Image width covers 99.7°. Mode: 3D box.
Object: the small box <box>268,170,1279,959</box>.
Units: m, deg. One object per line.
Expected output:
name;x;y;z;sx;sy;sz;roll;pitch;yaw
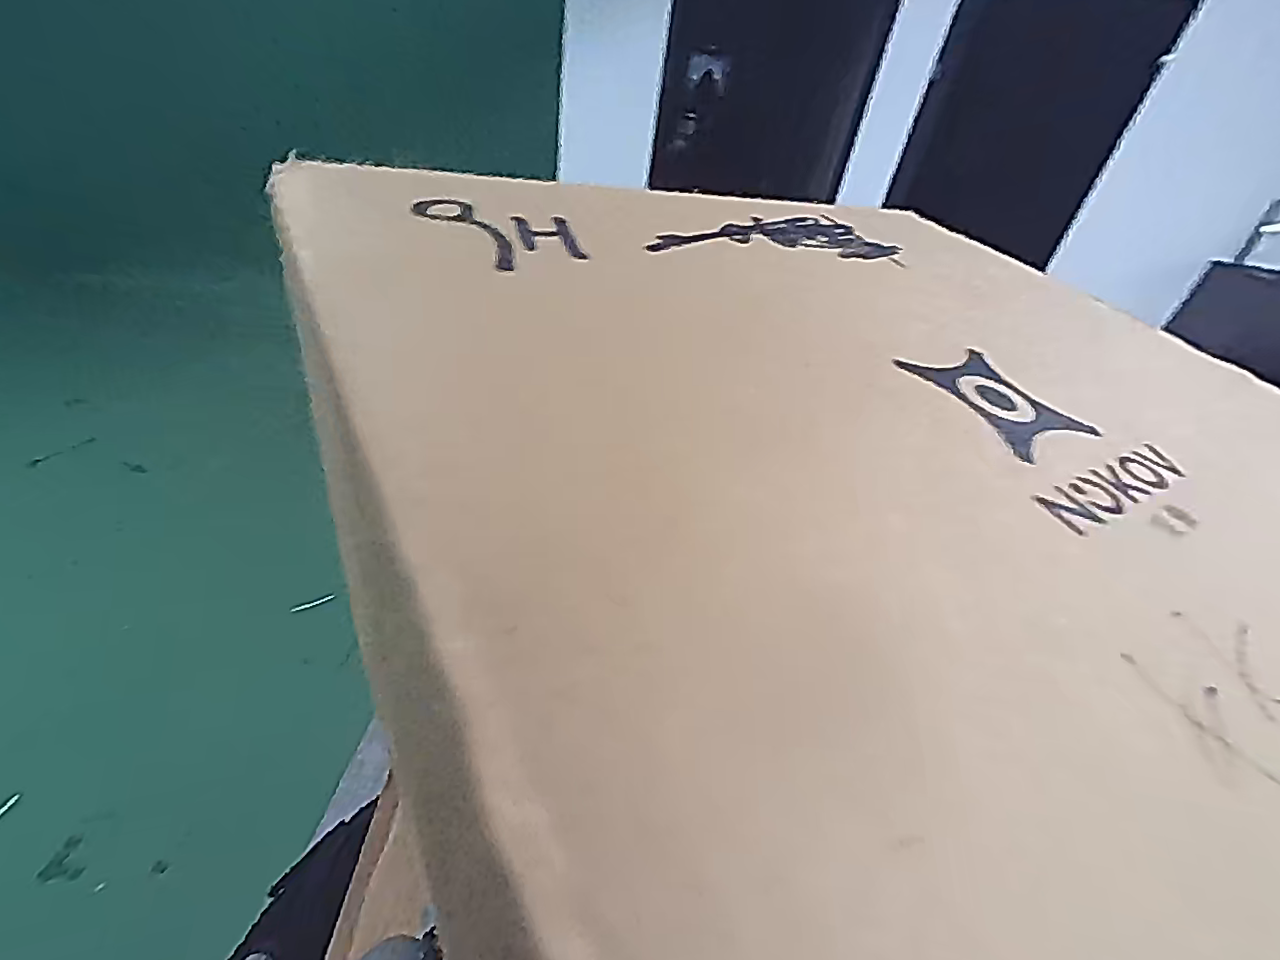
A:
small box;0.029;0.052;0.133;0.168;0.176;0.179;-11;50;-29
